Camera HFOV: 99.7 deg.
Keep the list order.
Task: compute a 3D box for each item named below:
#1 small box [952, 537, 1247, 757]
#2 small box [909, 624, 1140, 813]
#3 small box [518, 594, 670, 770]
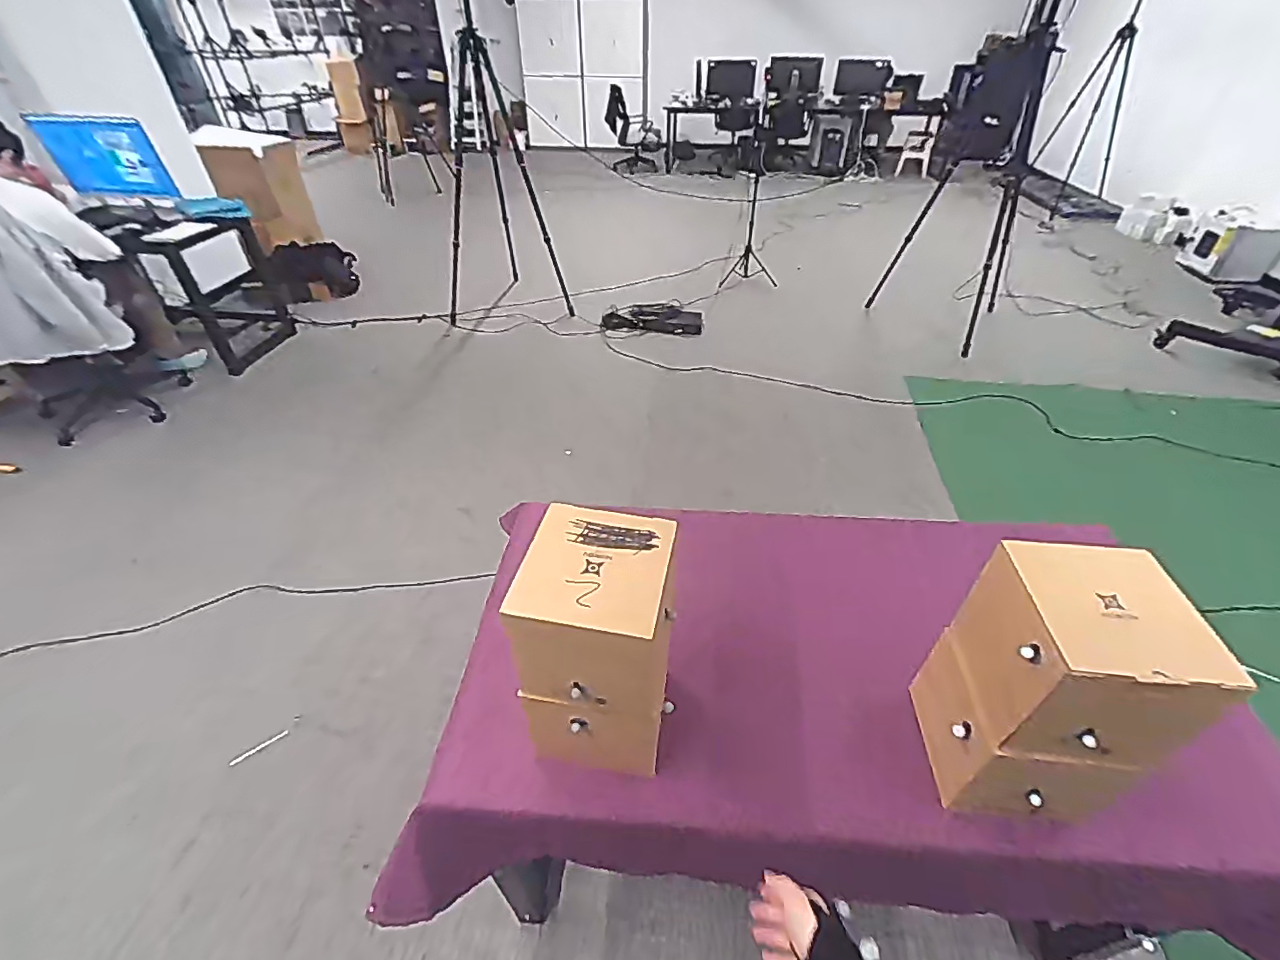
[{"bbox_3d":[0.495,0.190,0.625,0.168,0.176,0.179,4,41,5],"label":"small box"},{"bbox_3d":[0.489,0.320,0.725,0.168,0.176,0.179,4,40,4],"label":"small box"},{"bbox_3d":[-0.055,0.287,0.768,0.179,0.176,0.168,6,40,6],"label":"small box"}]
